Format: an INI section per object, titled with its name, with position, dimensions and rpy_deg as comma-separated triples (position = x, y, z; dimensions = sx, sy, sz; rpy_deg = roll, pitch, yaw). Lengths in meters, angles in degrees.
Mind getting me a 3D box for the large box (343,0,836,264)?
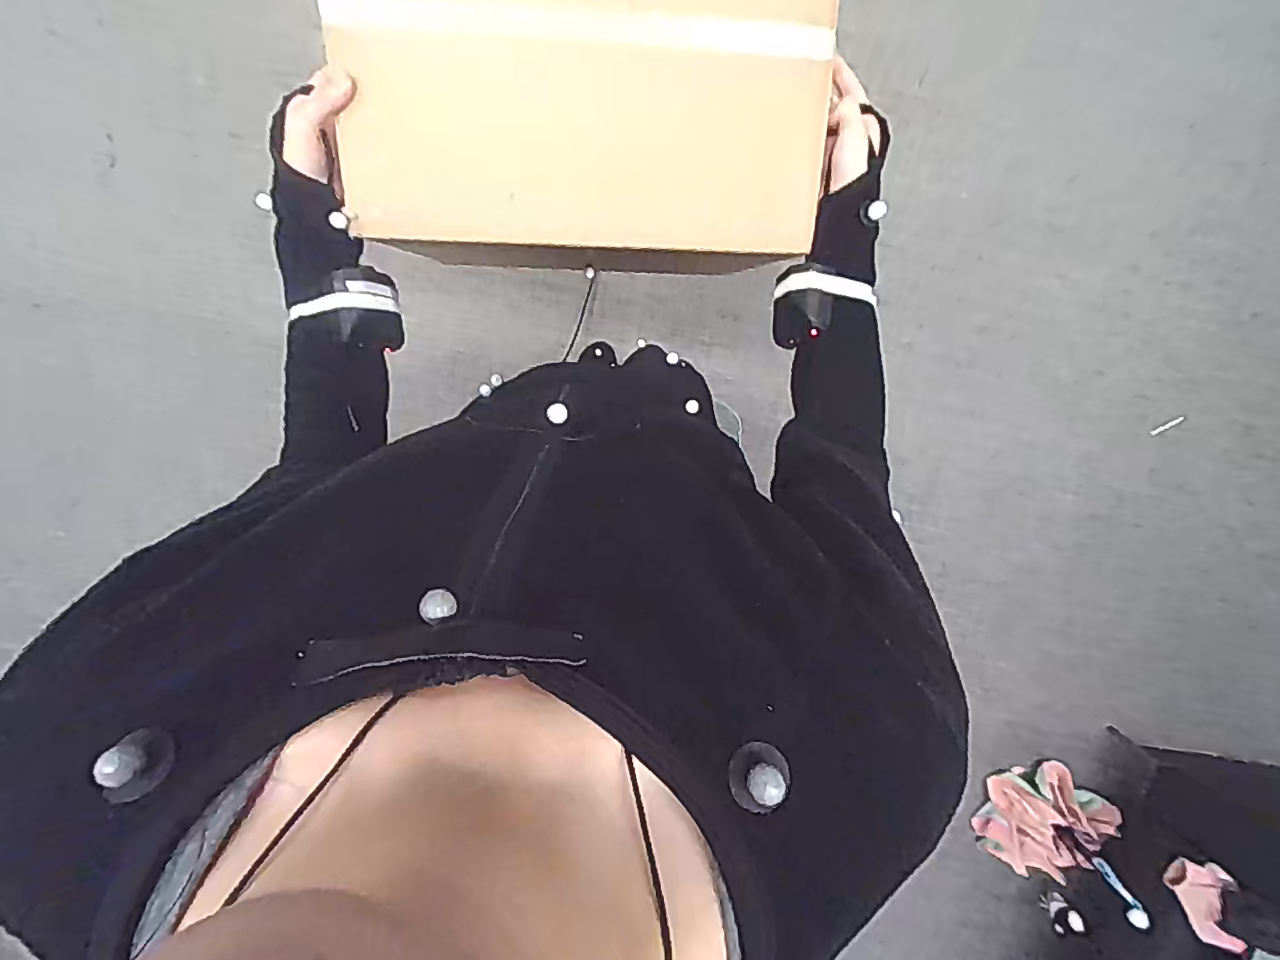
[large box]
position = -0.046, -0.409, 0.584
dimensions = 0.408, 0.320, 0.320
rpy_deg = 0, 107, -5
